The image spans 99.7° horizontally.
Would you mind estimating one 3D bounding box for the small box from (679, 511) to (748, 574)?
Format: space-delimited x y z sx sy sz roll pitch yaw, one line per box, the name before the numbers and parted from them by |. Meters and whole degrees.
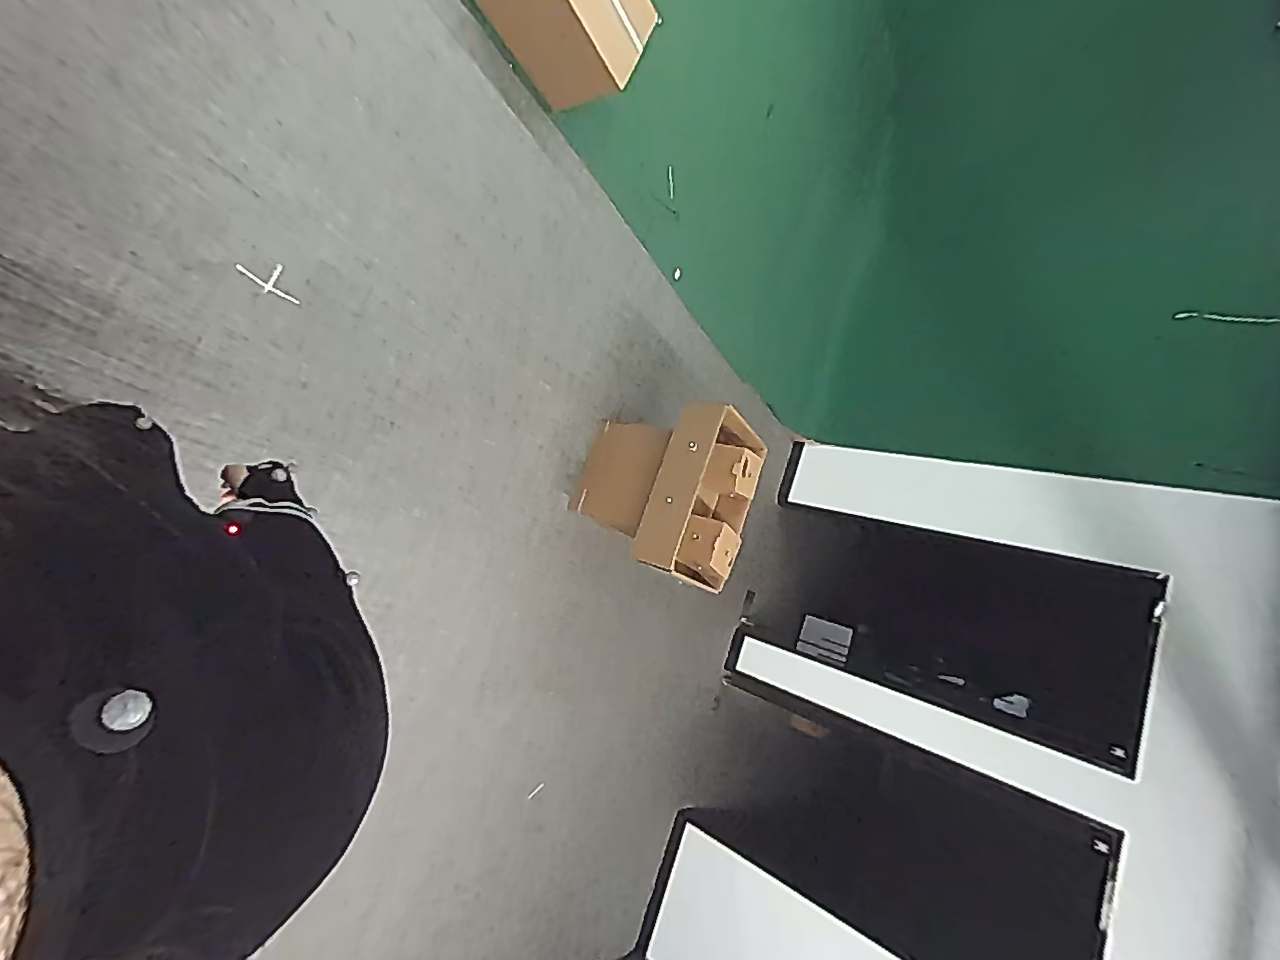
small box | 0.270 0.227 2.008 0.179 0.176 0.168 43 67 -47
